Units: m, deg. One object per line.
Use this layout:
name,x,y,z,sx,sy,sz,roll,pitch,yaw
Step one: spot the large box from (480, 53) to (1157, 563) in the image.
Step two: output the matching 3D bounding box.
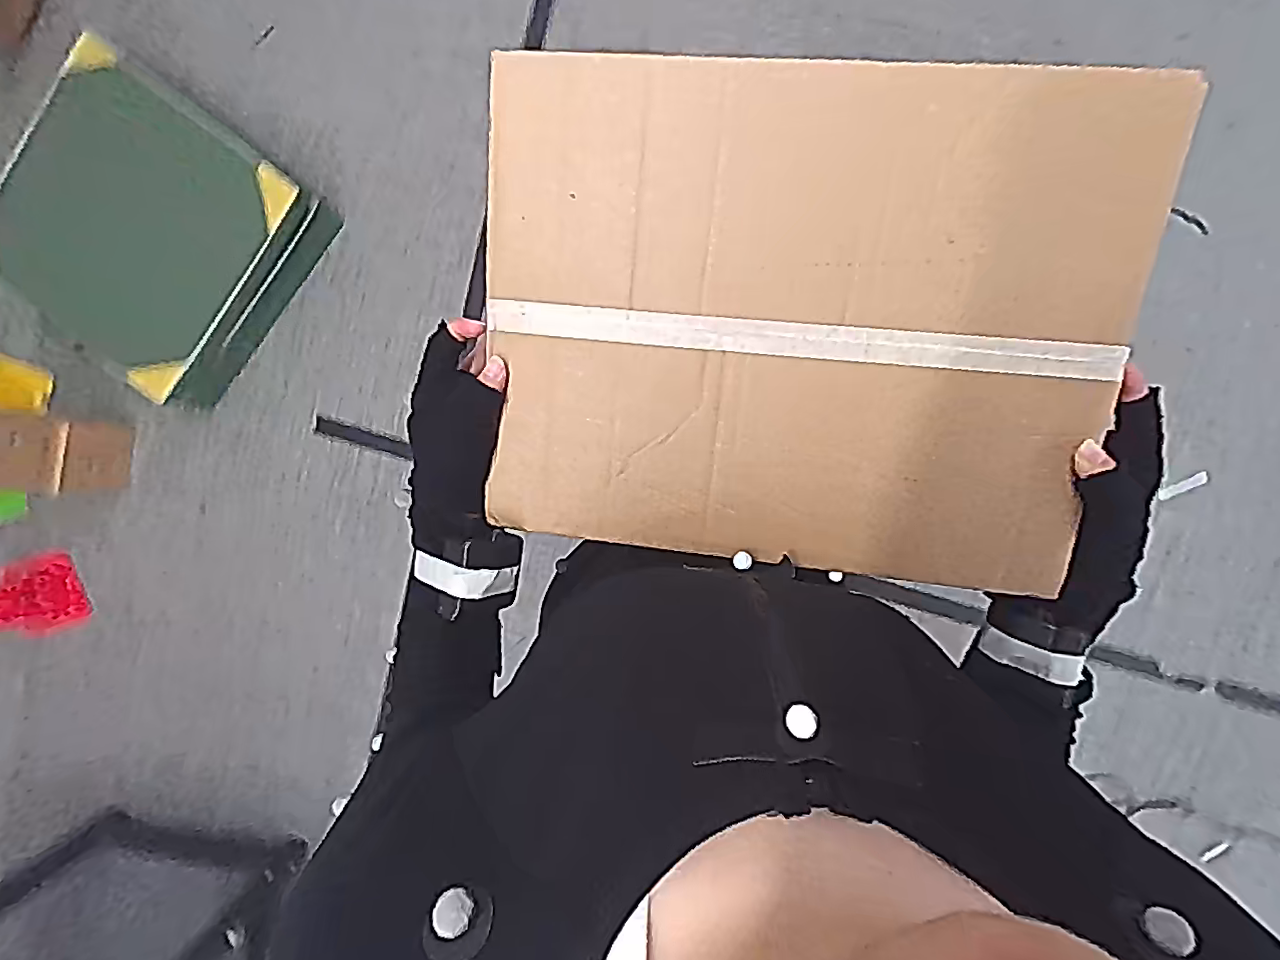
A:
large box,0.108,-0.139,0.503,0.408,0.320,0.320,5,104,6
